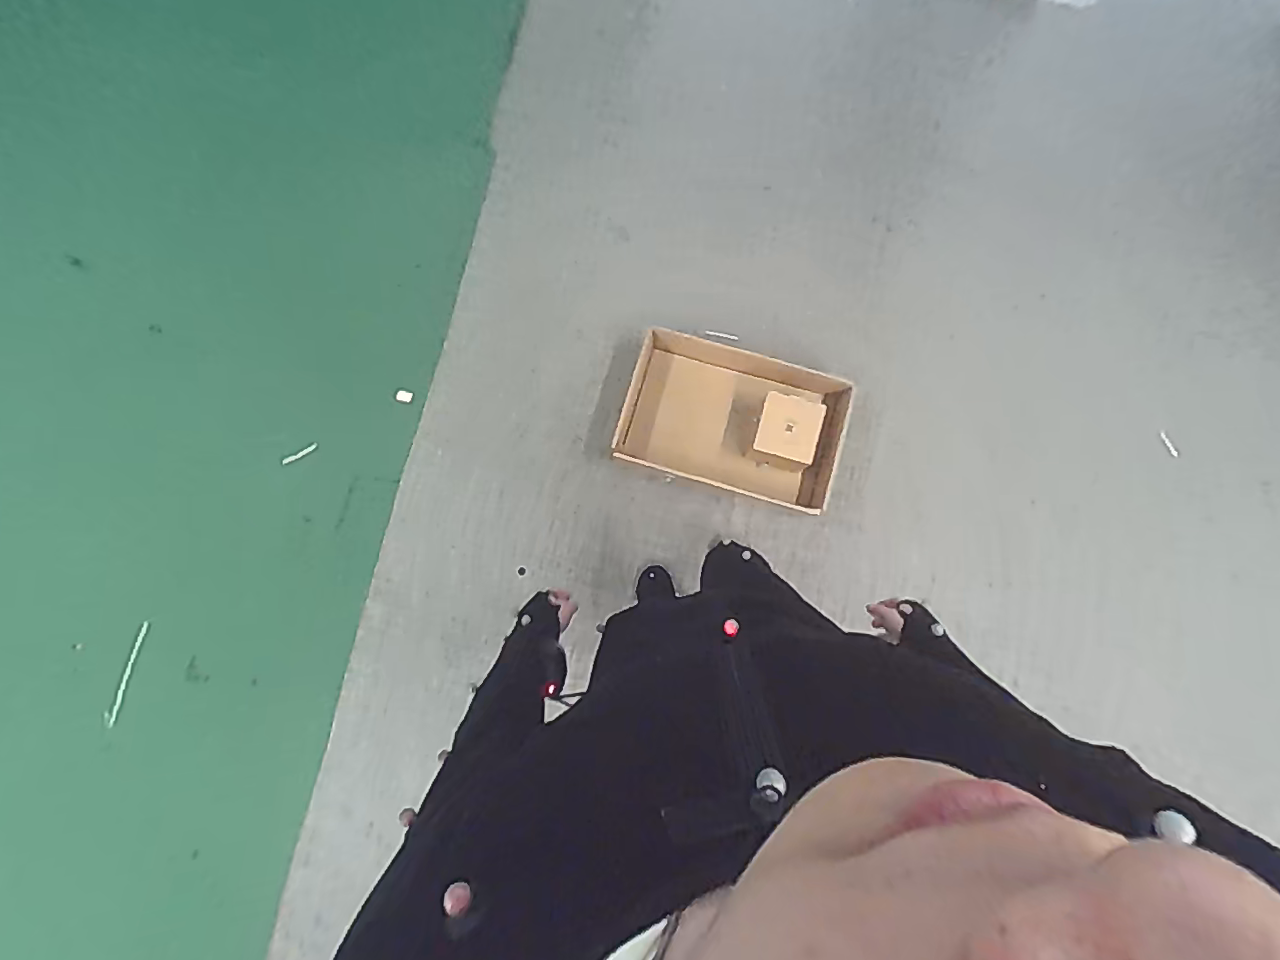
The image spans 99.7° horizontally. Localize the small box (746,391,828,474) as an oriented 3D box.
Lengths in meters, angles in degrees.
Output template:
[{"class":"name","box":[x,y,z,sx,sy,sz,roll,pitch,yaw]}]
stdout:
[{"class":"small box","box":[0.412,-0.130,1.543,0.168,0.176,0.179,17,83,4]}]
